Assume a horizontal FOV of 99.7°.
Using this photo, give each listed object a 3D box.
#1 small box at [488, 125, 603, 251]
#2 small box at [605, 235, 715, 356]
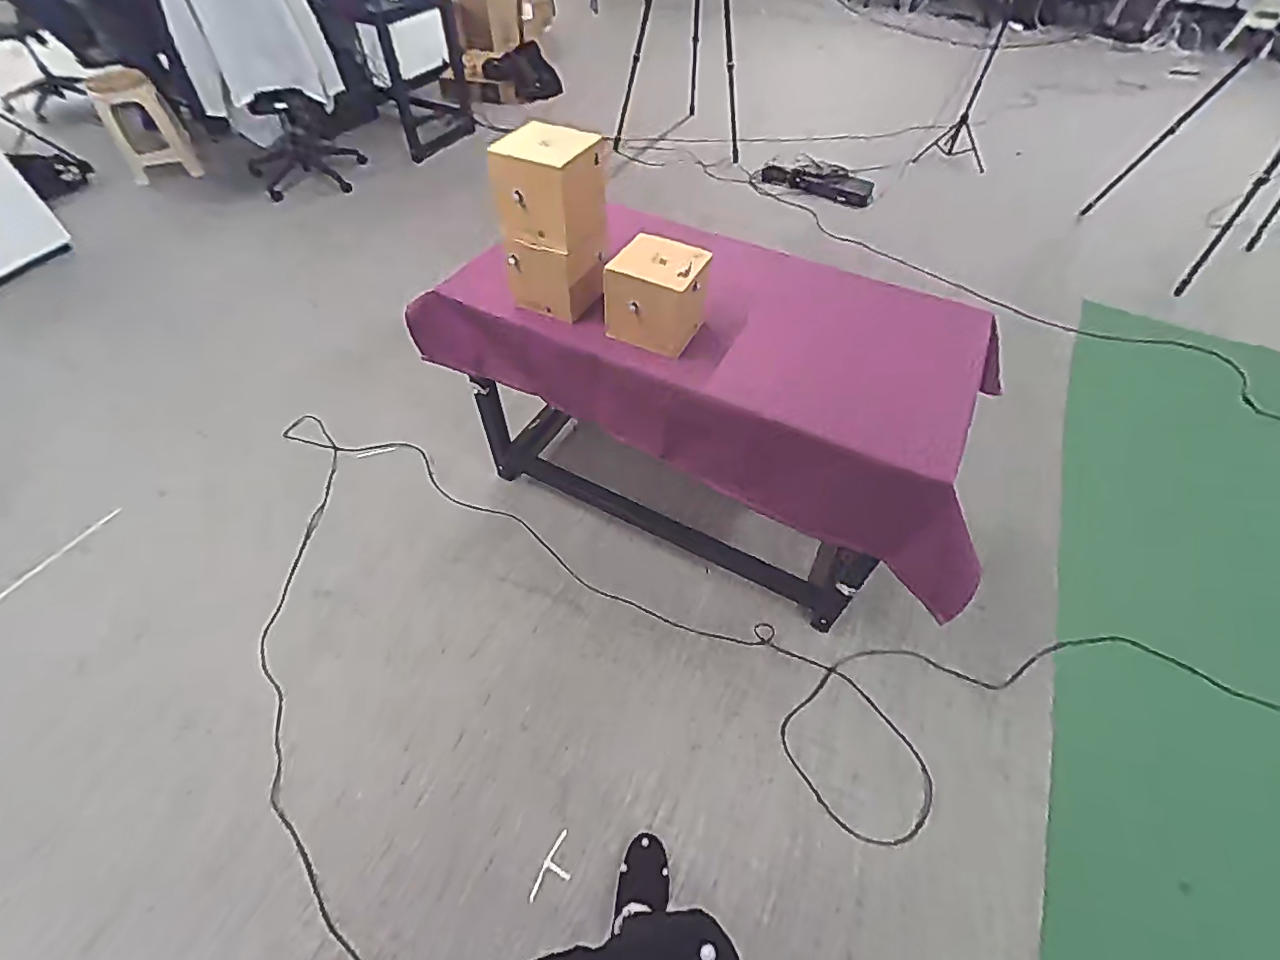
[{"bbox_3d":[-0.181,-0.597,1.110,0.168,0.176,0.179,20,53,14],"label":"small box"},{"bbox_3d":[0.042,-0.392,1.160,0.179,0.176,0.168,23,55,16],"label":"small box"}]
